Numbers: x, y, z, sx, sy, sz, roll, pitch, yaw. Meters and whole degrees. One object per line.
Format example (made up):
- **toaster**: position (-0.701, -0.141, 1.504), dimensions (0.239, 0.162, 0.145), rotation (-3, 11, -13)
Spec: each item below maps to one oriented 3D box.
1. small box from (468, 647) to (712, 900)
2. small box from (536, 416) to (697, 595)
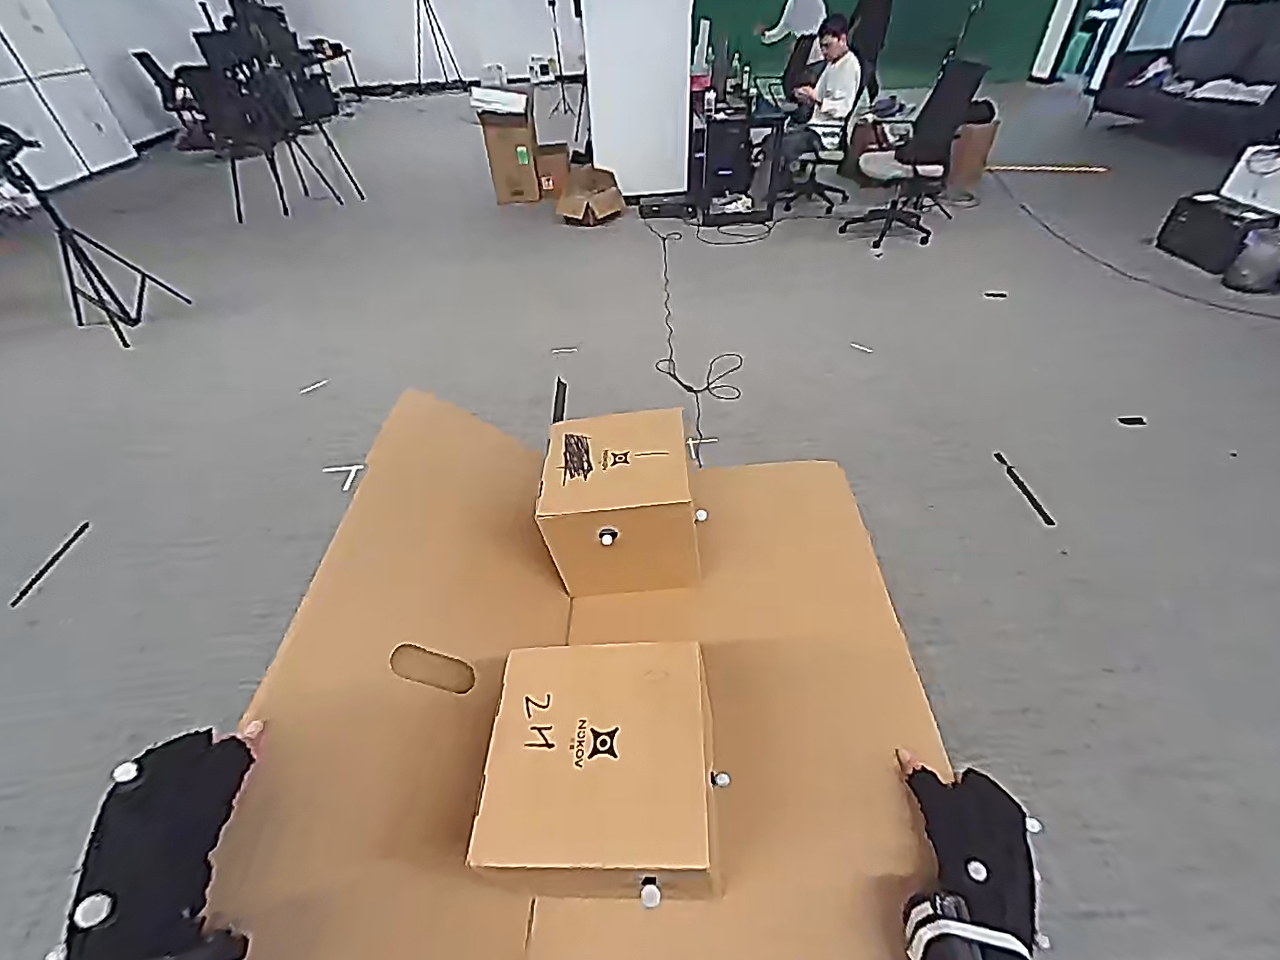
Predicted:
- **small box**: position (-0.025, 0.268, 0.494), dimensions (0.179, 0.176, 0.168), rotation (-4, 45, 8)
- **small box**: position (-0.022, 0.039, 0.718), dimensions (0.179, 0.176, 0.168), rotation (-6, 45, 6)
